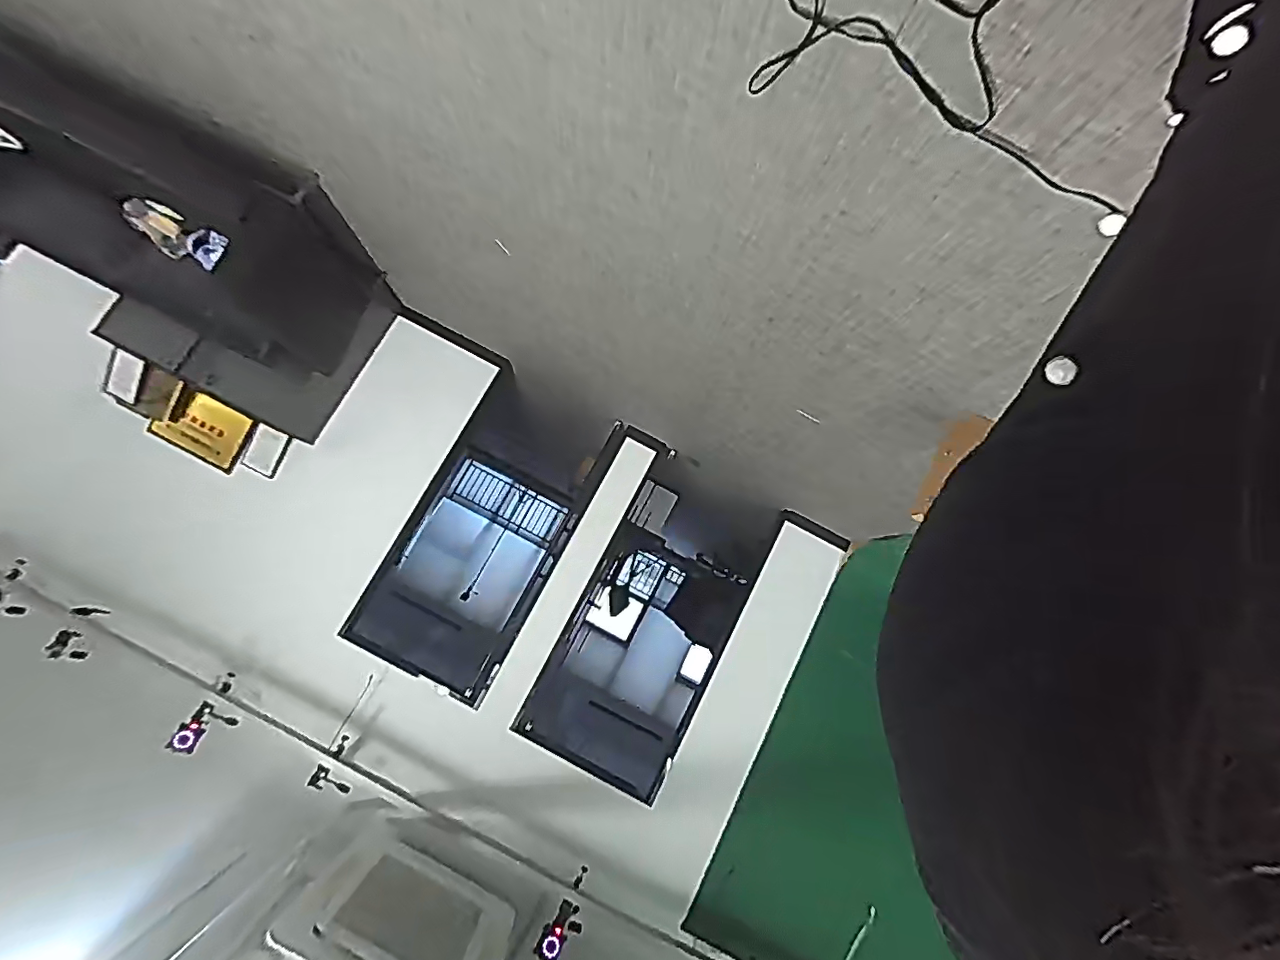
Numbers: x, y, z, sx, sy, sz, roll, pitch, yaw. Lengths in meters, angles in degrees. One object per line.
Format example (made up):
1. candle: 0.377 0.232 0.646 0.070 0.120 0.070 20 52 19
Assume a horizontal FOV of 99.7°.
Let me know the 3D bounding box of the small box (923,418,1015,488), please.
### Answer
1. small box: 1.050 -0.075 1.721 0.168 0.176 0.179 29 170 2

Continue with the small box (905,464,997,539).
1. small box: 0.973 0.067 1.689 0.168 0.176 0.179 30 170 3
